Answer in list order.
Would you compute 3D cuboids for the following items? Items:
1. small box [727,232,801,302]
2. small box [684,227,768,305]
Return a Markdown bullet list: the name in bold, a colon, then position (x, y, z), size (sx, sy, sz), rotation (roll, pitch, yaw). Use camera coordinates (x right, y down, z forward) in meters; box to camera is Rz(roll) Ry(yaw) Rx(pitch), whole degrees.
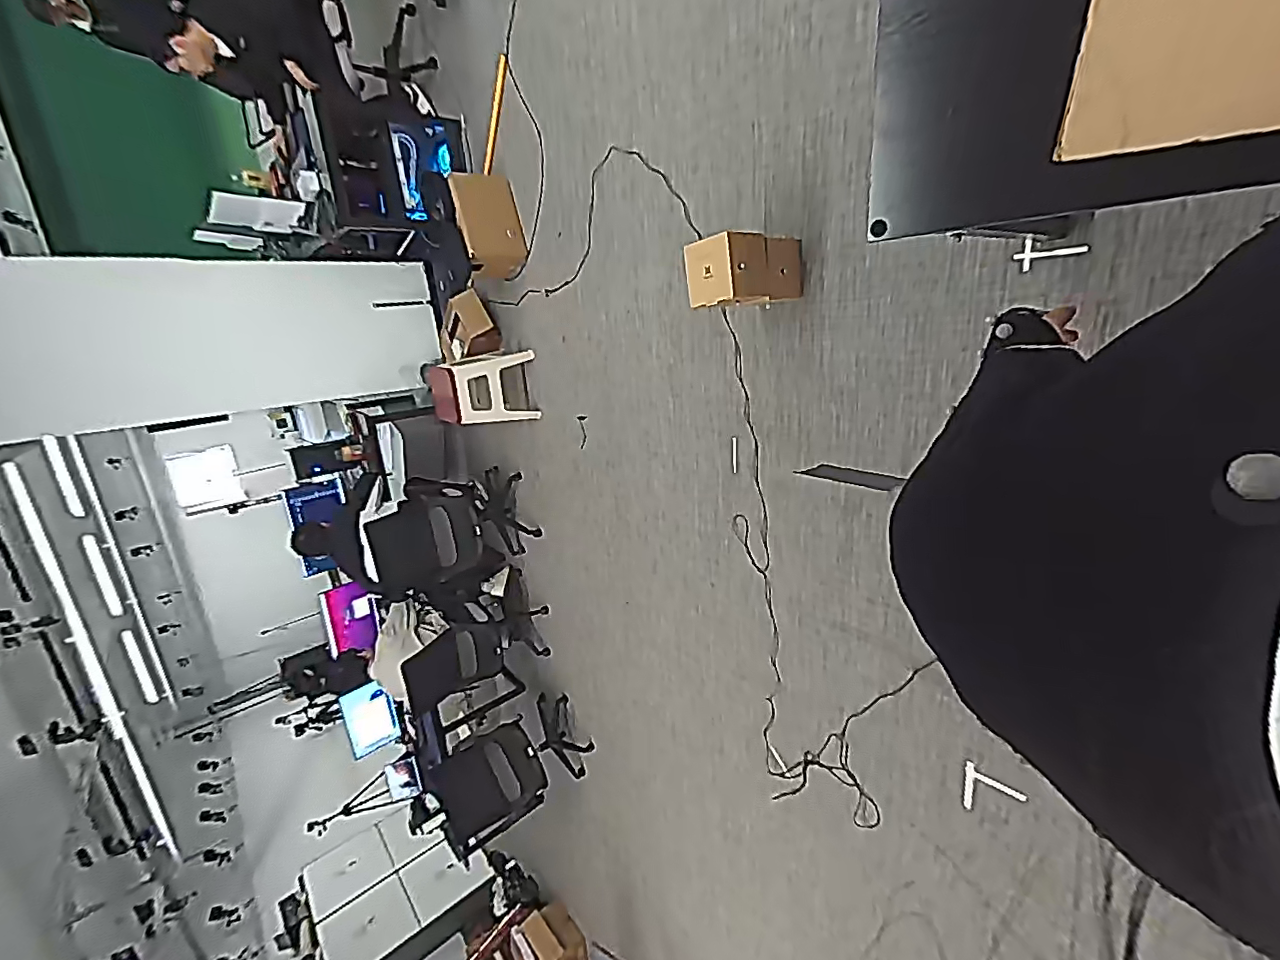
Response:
- **small box**: position (0.376, -0.645, 1.651), size (0.168, 0.176, 0.179), rotation (11, 113, 49)
- **small box**: position (0.251, -0.611, 1.553), size (0.168, 0.176, 0.179), rotation (6, 107, 49)
